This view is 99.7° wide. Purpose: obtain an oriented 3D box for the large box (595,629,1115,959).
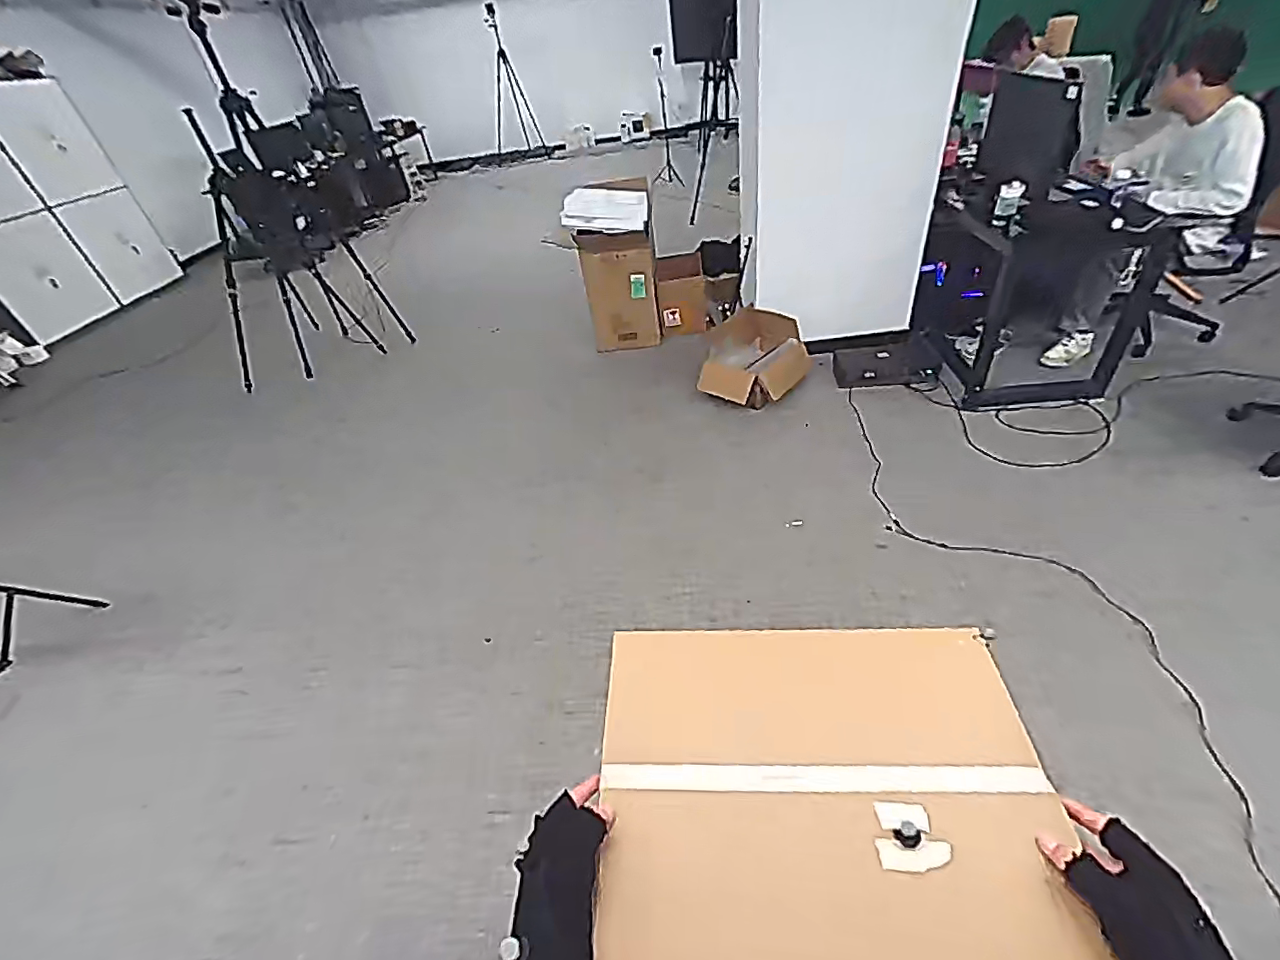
[{"bbox_3d":[0.177,0.391,0.618,0.408,0.320,0.320,-2,43,6],"label":"large box"}]
